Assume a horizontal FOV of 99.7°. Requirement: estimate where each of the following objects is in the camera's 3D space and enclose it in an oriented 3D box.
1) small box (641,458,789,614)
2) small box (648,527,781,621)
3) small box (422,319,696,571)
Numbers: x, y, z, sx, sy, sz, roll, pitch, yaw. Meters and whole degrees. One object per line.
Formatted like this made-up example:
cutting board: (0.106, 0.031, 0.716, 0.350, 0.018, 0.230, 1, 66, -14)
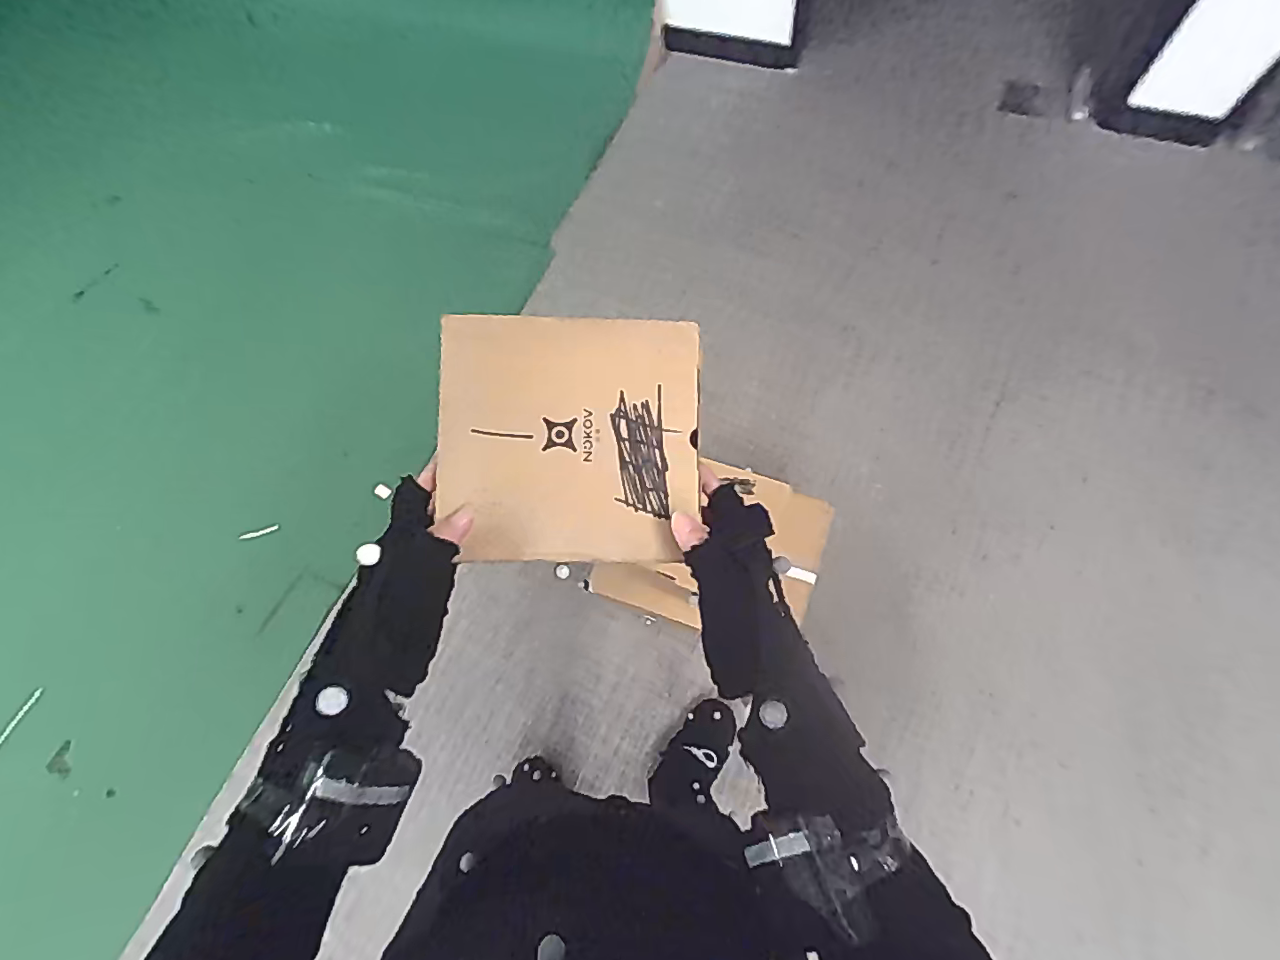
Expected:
small box: (0.110, 0.088, 0.803, 0.168, 0.176, 0.179, 19, 76, 14)
small box: (0.131, 0.143, 0.956, 0.179, 0.176, 0.168, 20, 76, 13)
small box: (-0.058, -0.015, 0.432, 0.179, 0.176, 0.168, 0, 84, -5)
